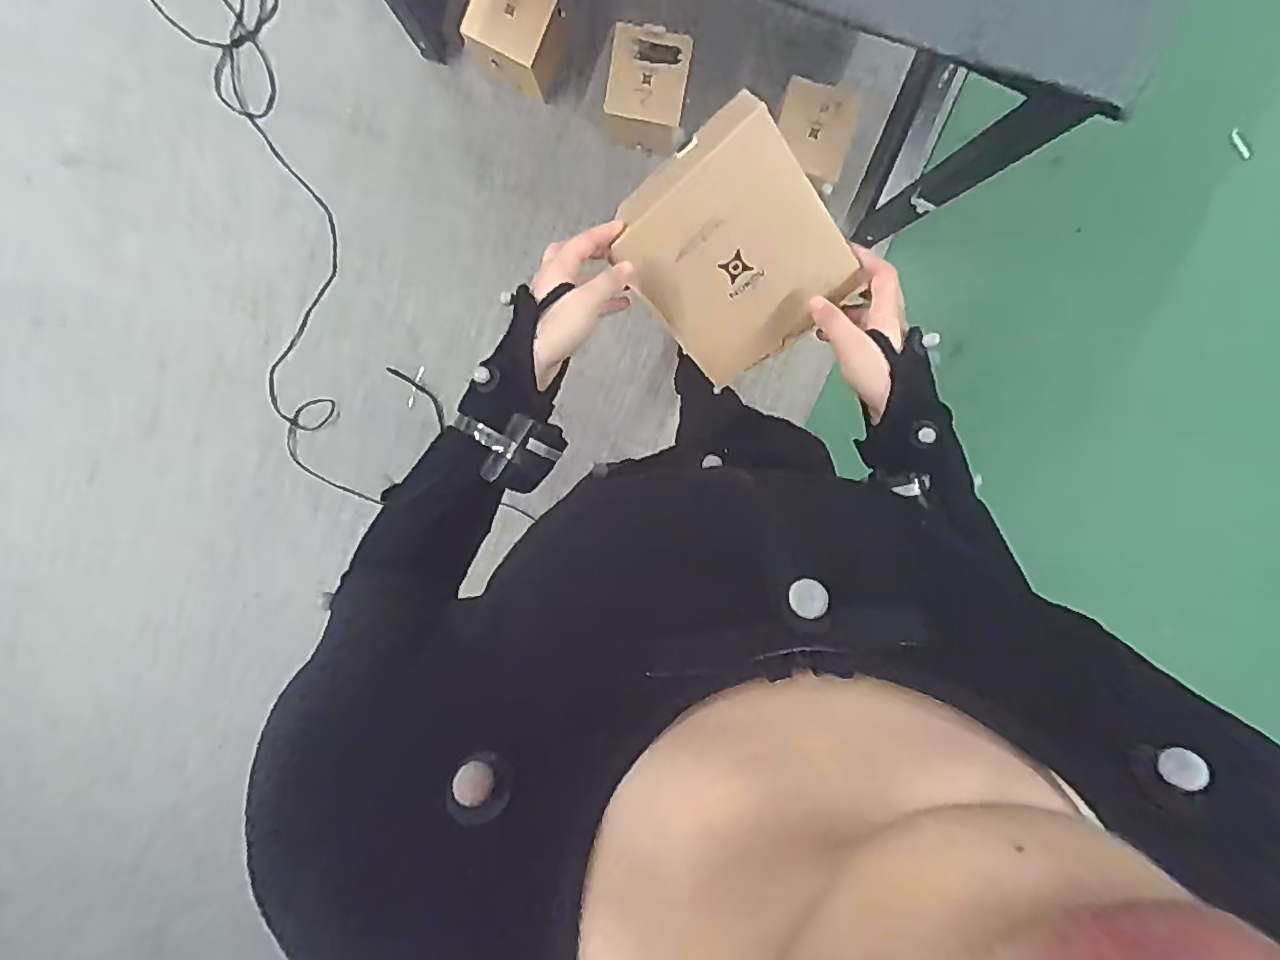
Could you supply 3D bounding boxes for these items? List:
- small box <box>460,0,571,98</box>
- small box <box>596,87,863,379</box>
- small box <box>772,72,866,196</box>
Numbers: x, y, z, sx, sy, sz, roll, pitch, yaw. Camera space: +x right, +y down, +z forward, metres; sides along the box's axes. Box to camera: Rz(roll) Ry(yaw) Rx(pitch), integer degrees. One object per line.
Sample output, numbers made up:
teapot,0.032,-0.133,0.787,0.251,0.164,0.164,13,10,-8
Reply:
small box,-0.263,-0.994,1.189,0.168,0.176,0.179,25,100,-4
small box,0.083,-0.240,0.524,0.168,0.176,0.179,-33,120,28
small box,0.376,-0.765,1.225,0.168,0.176,0.179,17,101,-3
